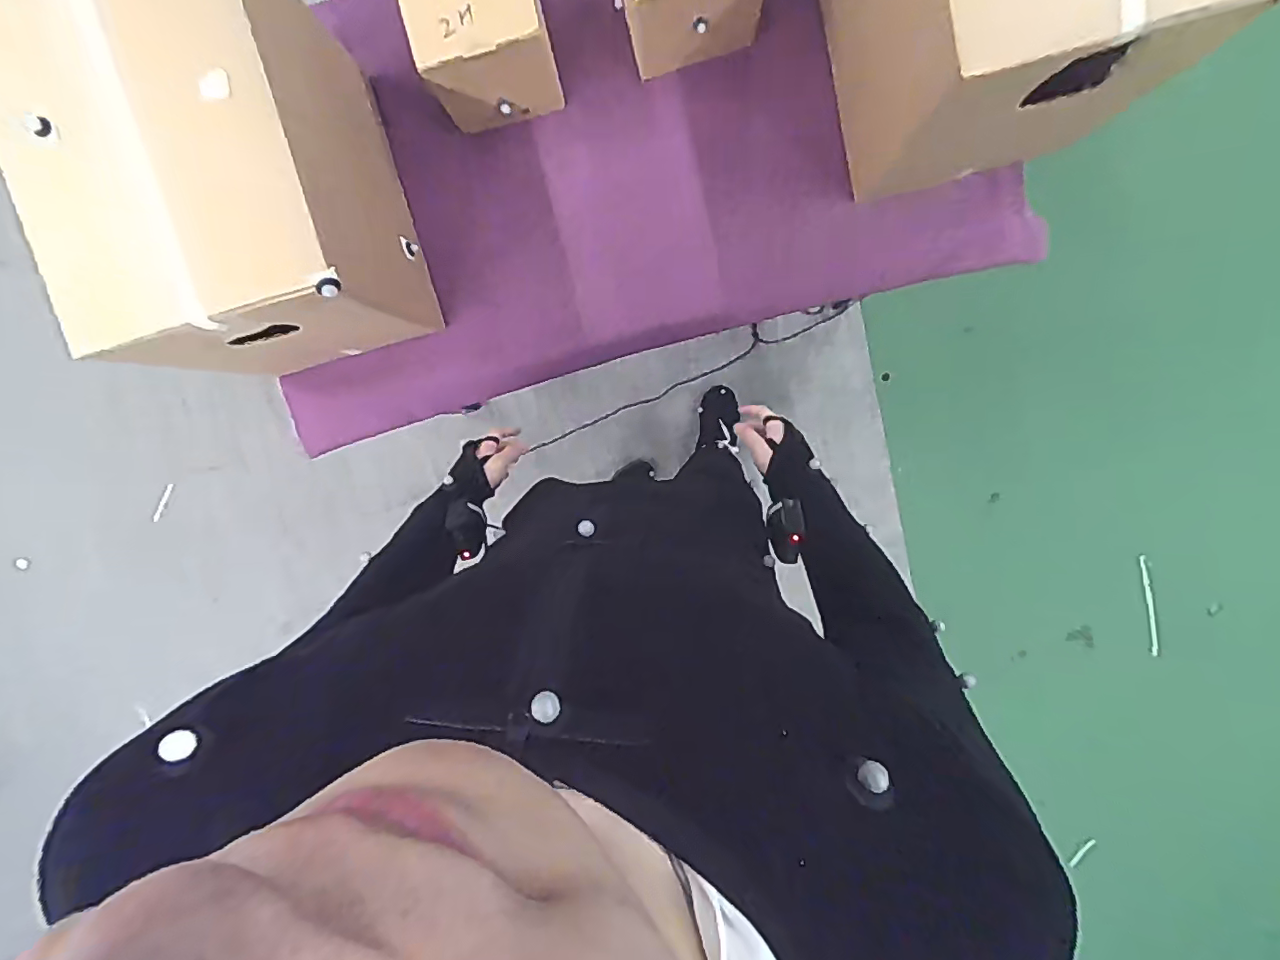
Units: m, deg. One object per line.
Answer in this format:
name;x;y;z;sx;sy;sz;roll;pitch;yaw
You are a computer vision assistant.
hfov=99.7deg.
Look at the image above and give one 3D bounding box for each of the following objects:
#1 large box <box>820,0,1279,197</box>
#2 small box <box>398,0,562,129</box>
large box;0.424;-0.632;0.642;0.320;0.320;0.408;-13;97;5
small box;-0.217;-0.628;0.737;0.168;0.176;0.179;-13;97;5
